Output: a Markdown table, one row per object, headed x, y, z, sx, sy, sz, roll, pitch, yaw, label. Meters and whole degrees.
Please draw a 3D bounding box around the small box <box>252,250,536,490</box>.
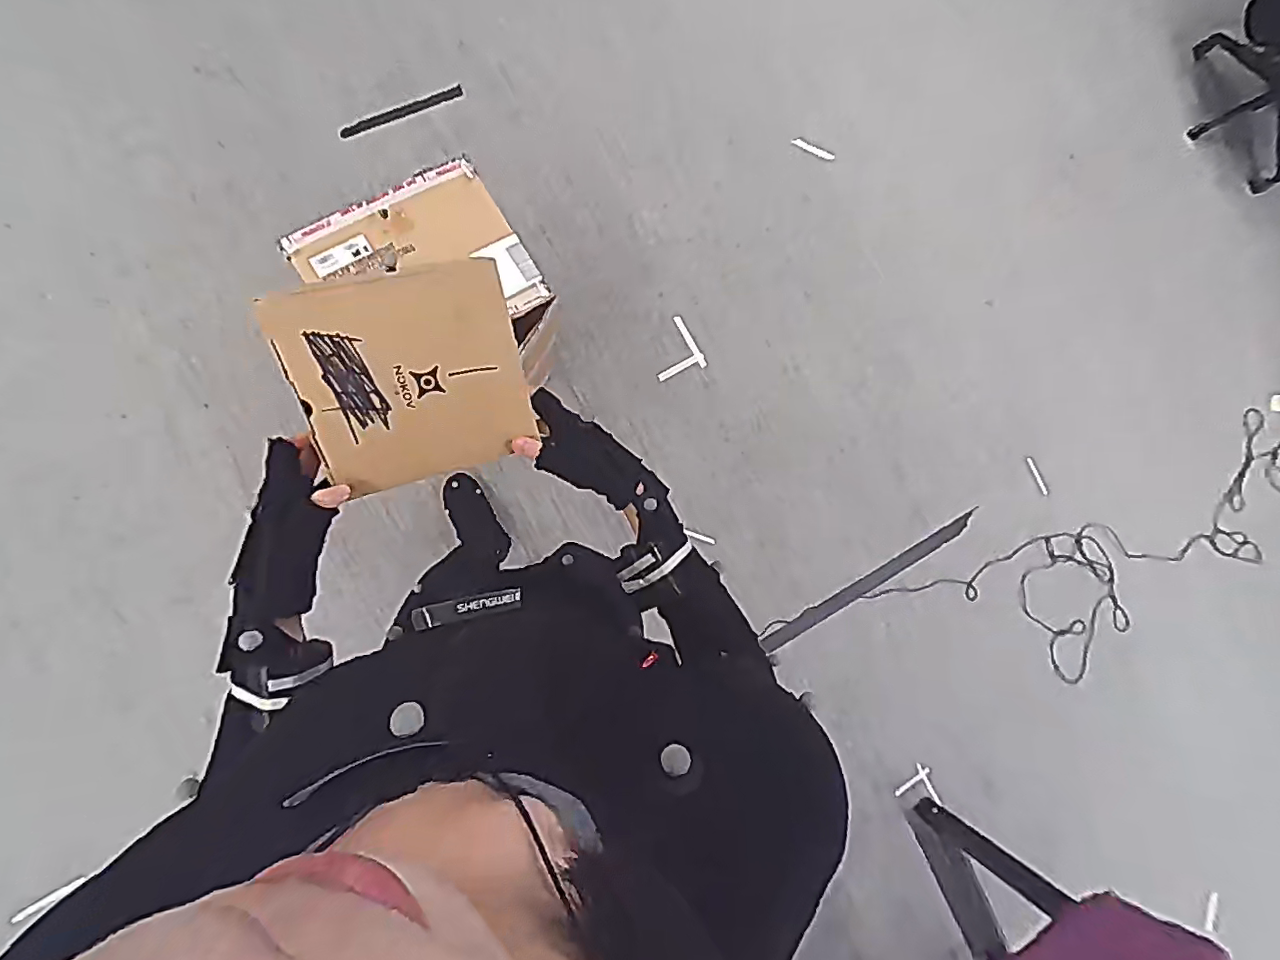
| x | y | z | sx | sy | sz | roll | pitch | yaw | label |
| --- | --- | --- | --- | --- | --- | --- | --- | --- | --- |
| -0.213 | -0.113 | 0.505 | 0.179 | 0.176 | 0.168 | -17 | 117 | -17 | small box |
